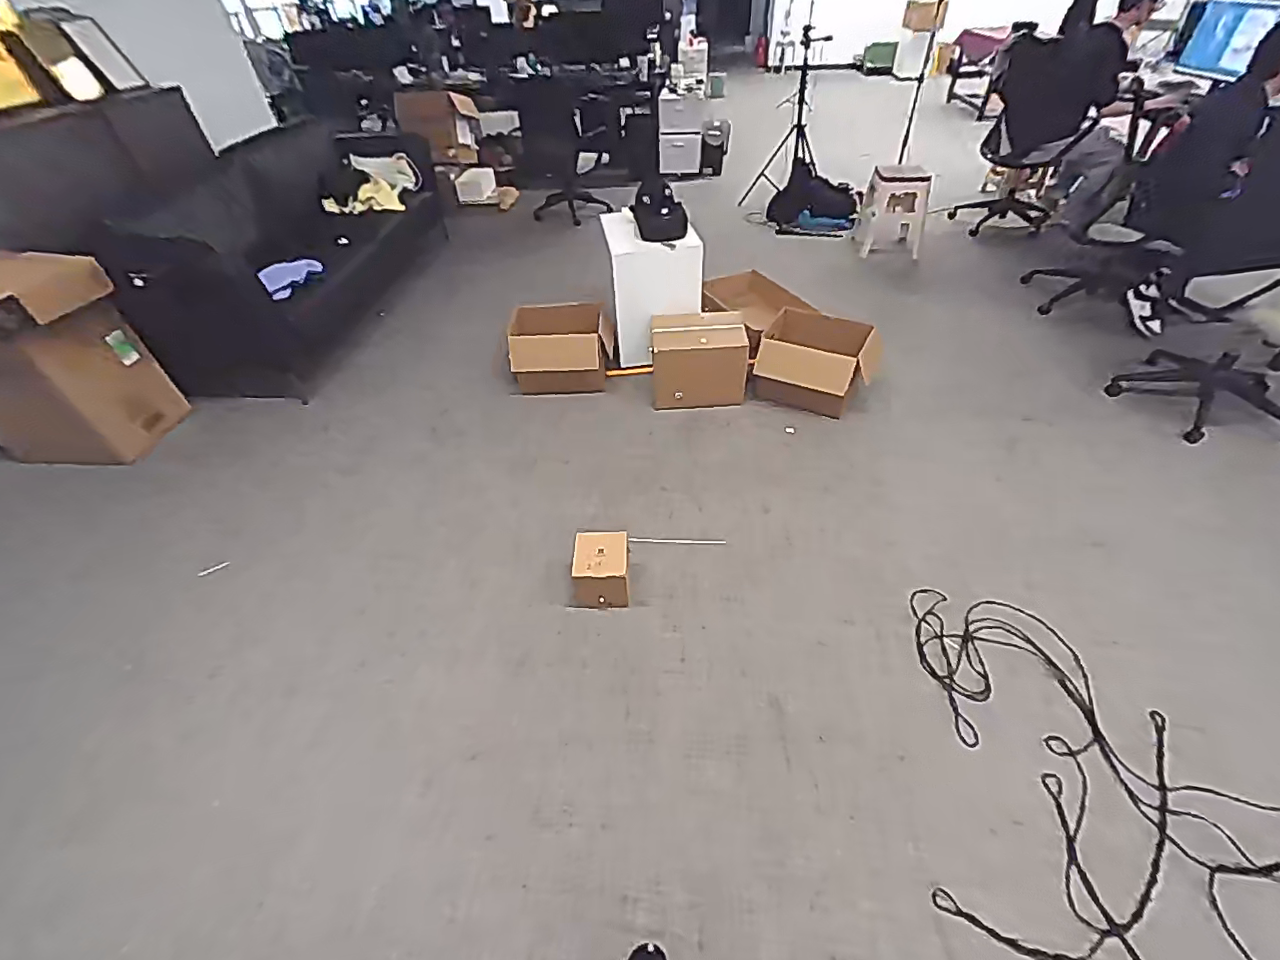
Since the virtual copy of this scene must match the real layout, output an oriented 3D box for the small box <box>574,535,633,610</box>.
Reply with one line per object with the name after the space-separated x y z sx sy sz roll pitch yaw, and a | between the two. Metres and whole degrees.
-0.112 0.293 1.723 0.168 0.176 0.179 -2 43 3 | small box
